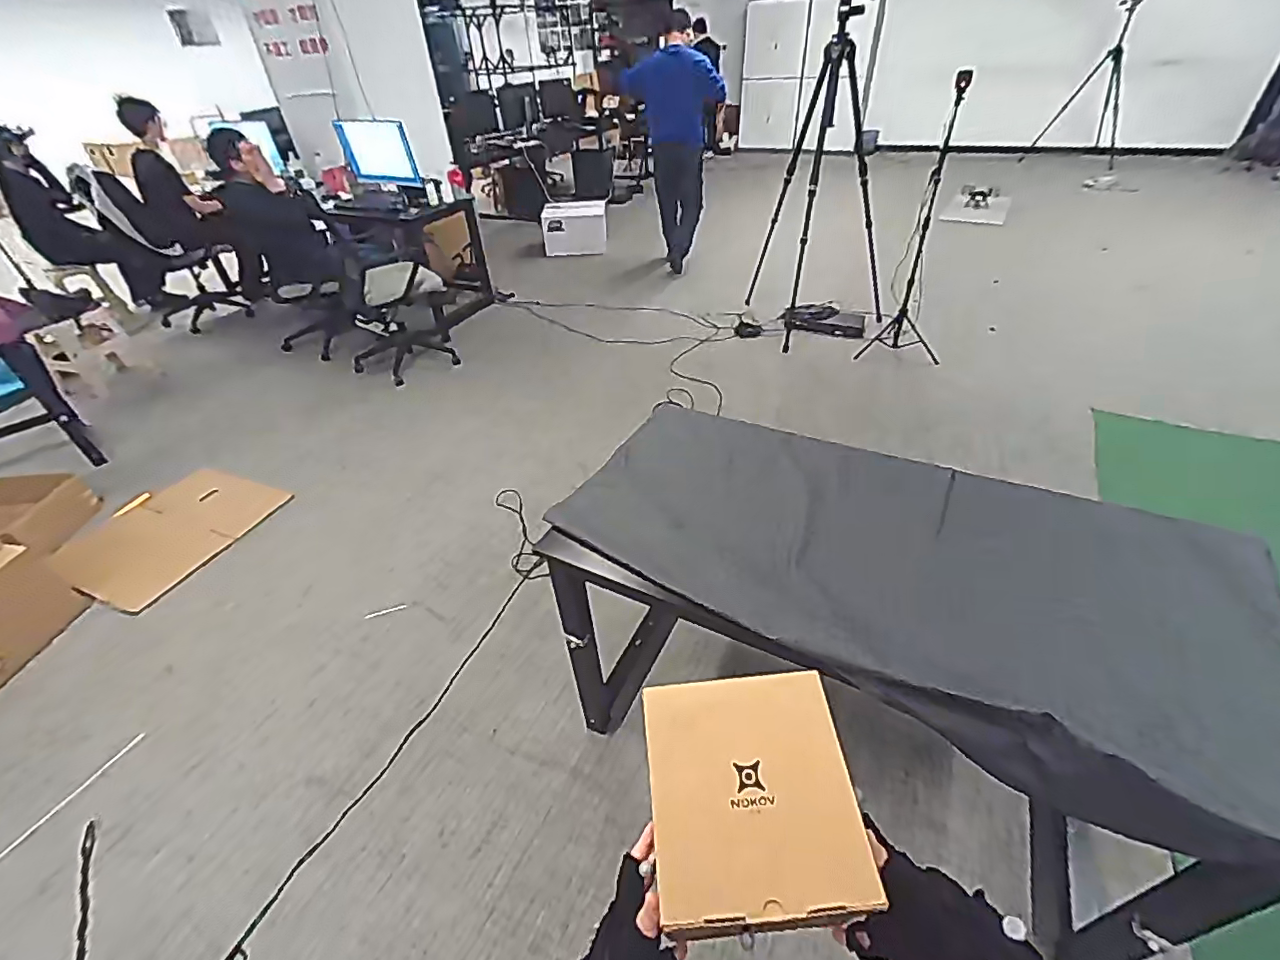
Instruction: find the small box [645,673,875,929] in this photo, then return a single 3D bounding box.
[{"bbox_3d":[0.092,0.305,0.513,0.168,0.176,0.179,-5,49,0],"label":"small box"}]
